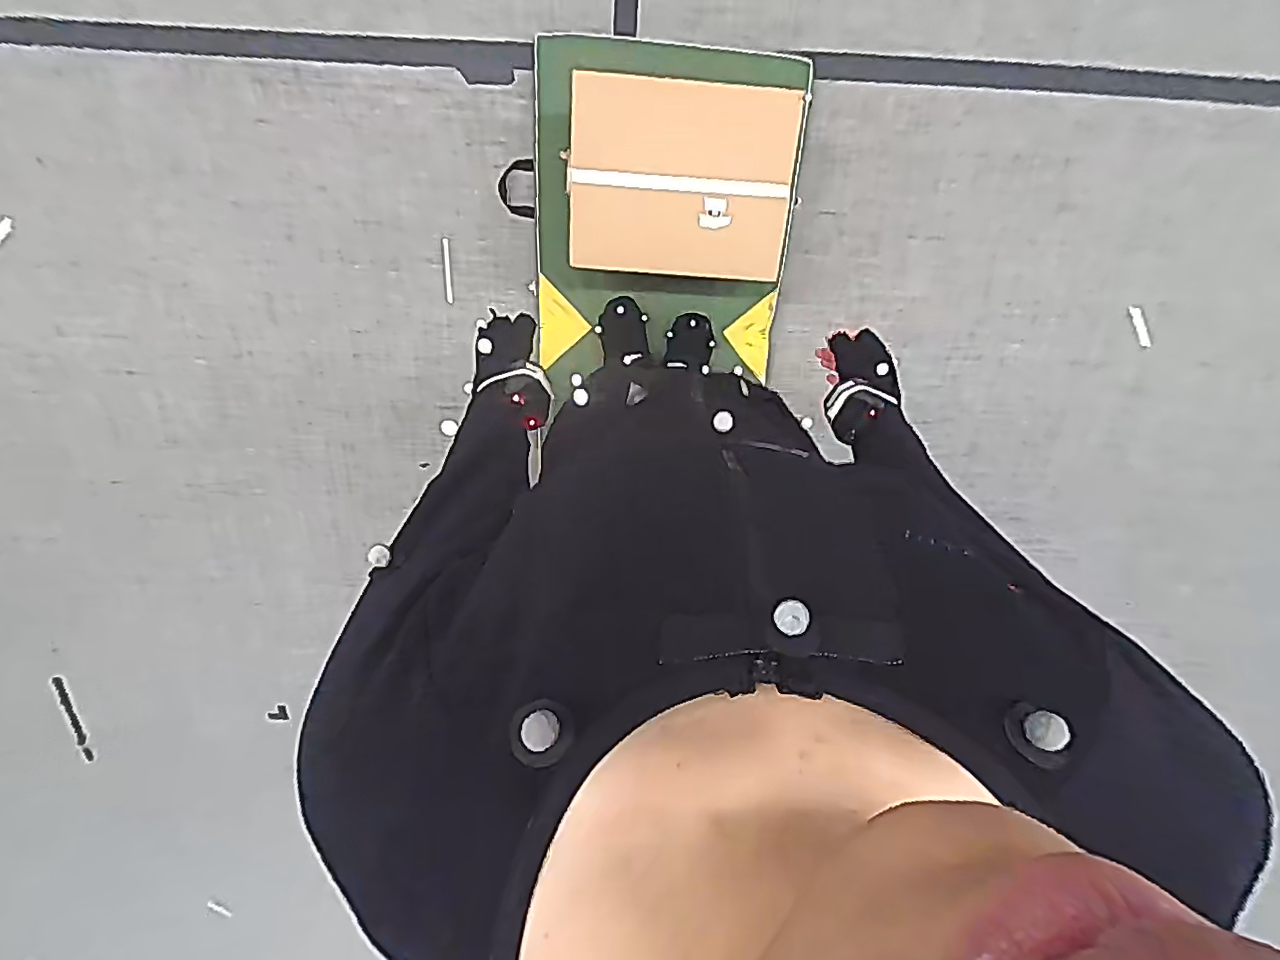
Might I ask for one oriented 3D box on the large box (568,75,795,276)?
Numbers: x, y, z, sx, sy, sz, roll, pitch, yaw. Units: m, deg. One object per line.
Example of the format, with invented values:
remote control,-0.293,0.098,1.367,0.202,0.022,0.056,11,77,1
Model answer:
large box,0.061,-0.606,1.133,0.408,0.320,0.320,2,113,-3
